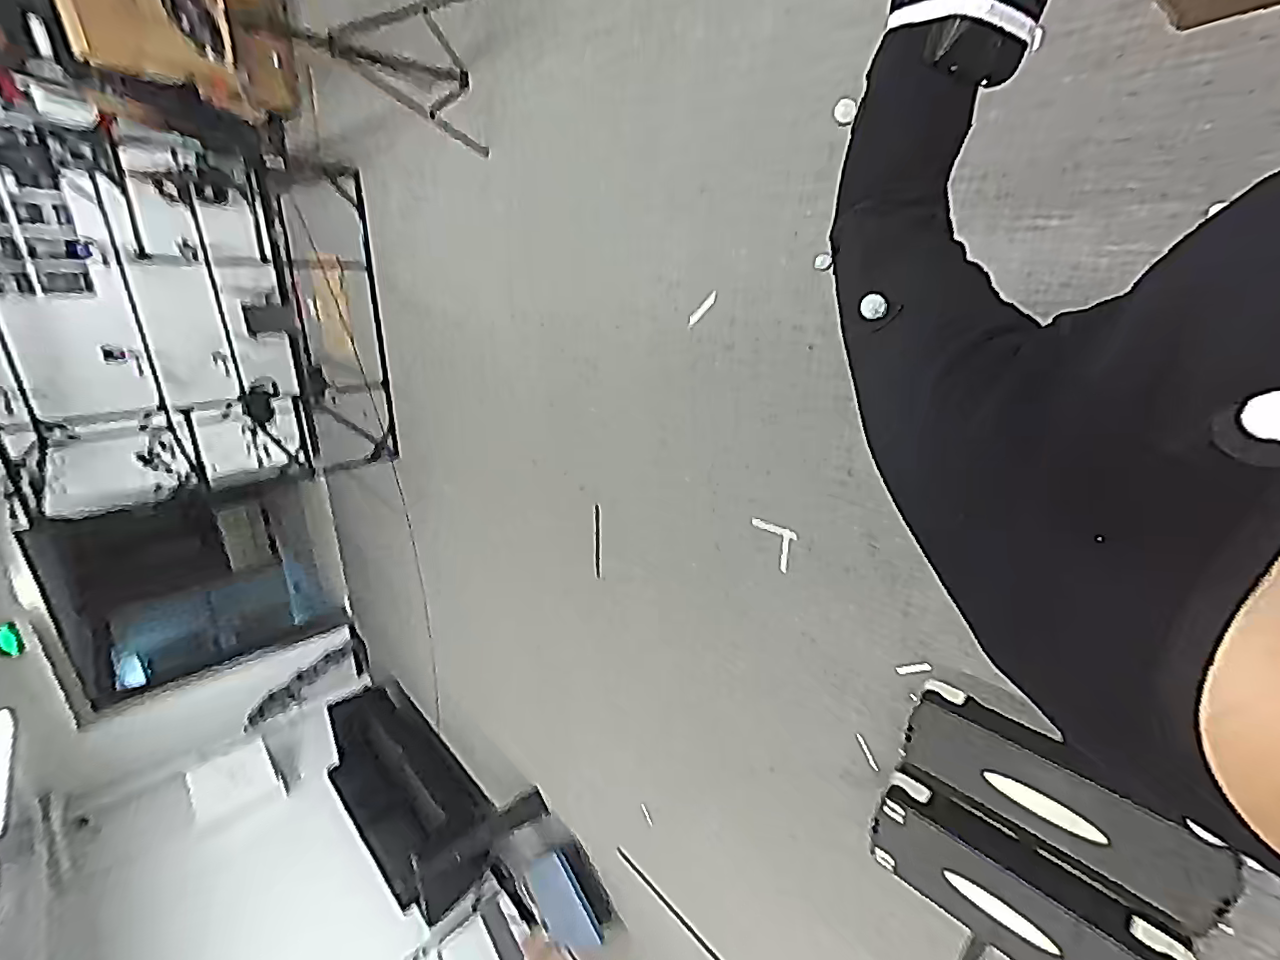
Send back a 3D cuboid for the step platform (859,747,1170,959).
[{"bbox_3d":[0.965,1.069,1.483,0.684,0.204,0.286,21,118,43],"label":"step platform"}]
